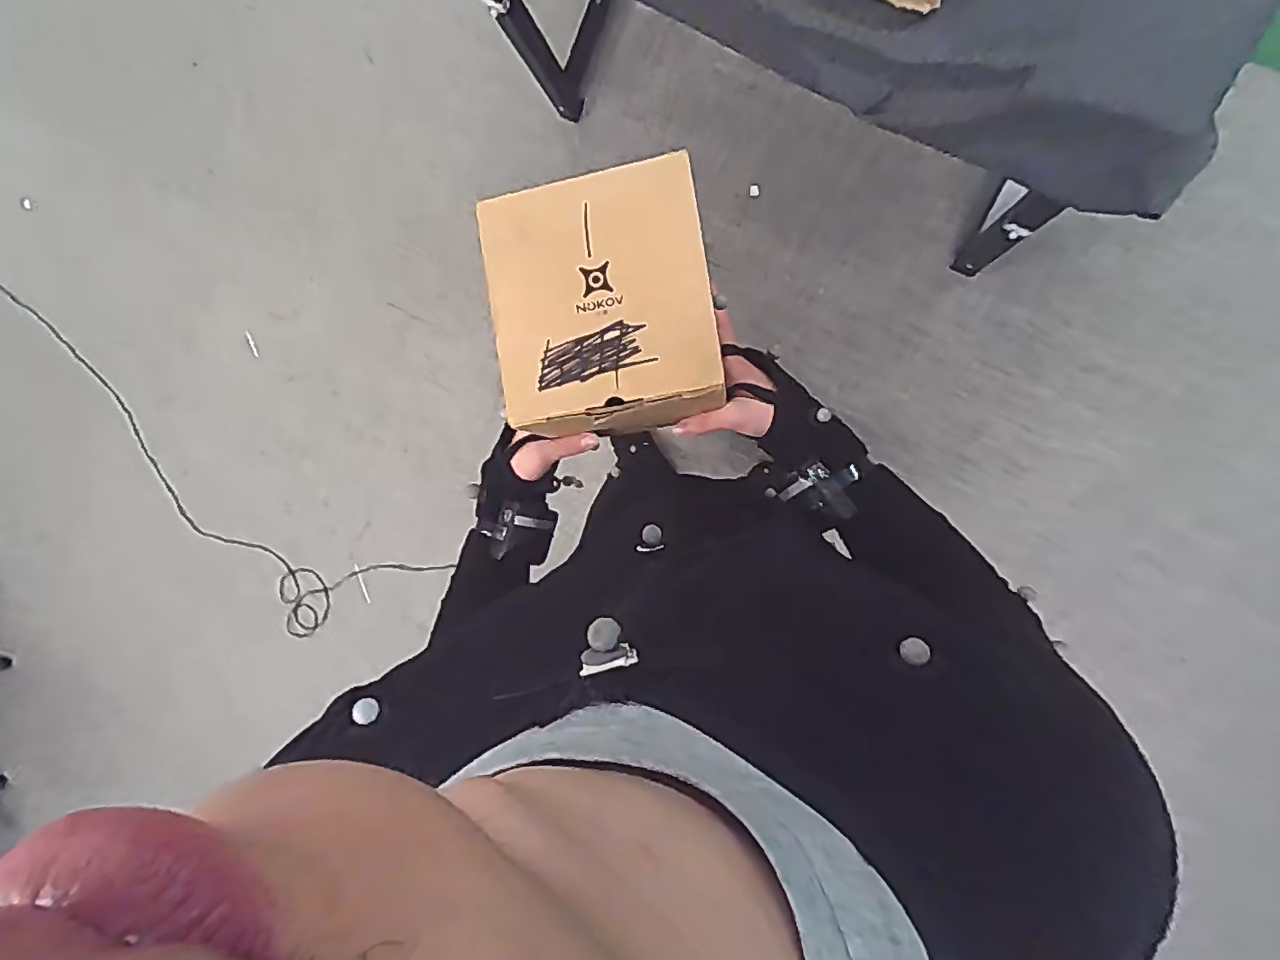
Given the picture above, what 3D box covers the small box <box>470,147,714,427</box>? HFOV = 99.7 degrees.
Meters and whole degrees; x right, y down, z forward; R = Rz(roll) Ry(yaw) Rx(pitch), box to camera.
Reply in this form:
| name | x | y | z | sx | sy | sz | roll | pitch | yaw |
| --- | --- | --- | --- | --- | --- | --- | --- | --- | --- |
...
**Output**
| name | x | y | z | sx | sy | sz | roll | pitch | yaw |
| --- | --- | --- | --- | --- | --- | --- | --- | --- | --- |
| small box | -0.027 | -0.144 | 0.477 | 0.168 | 0.176 | 0.179 | -8 | 89 | 8 |
